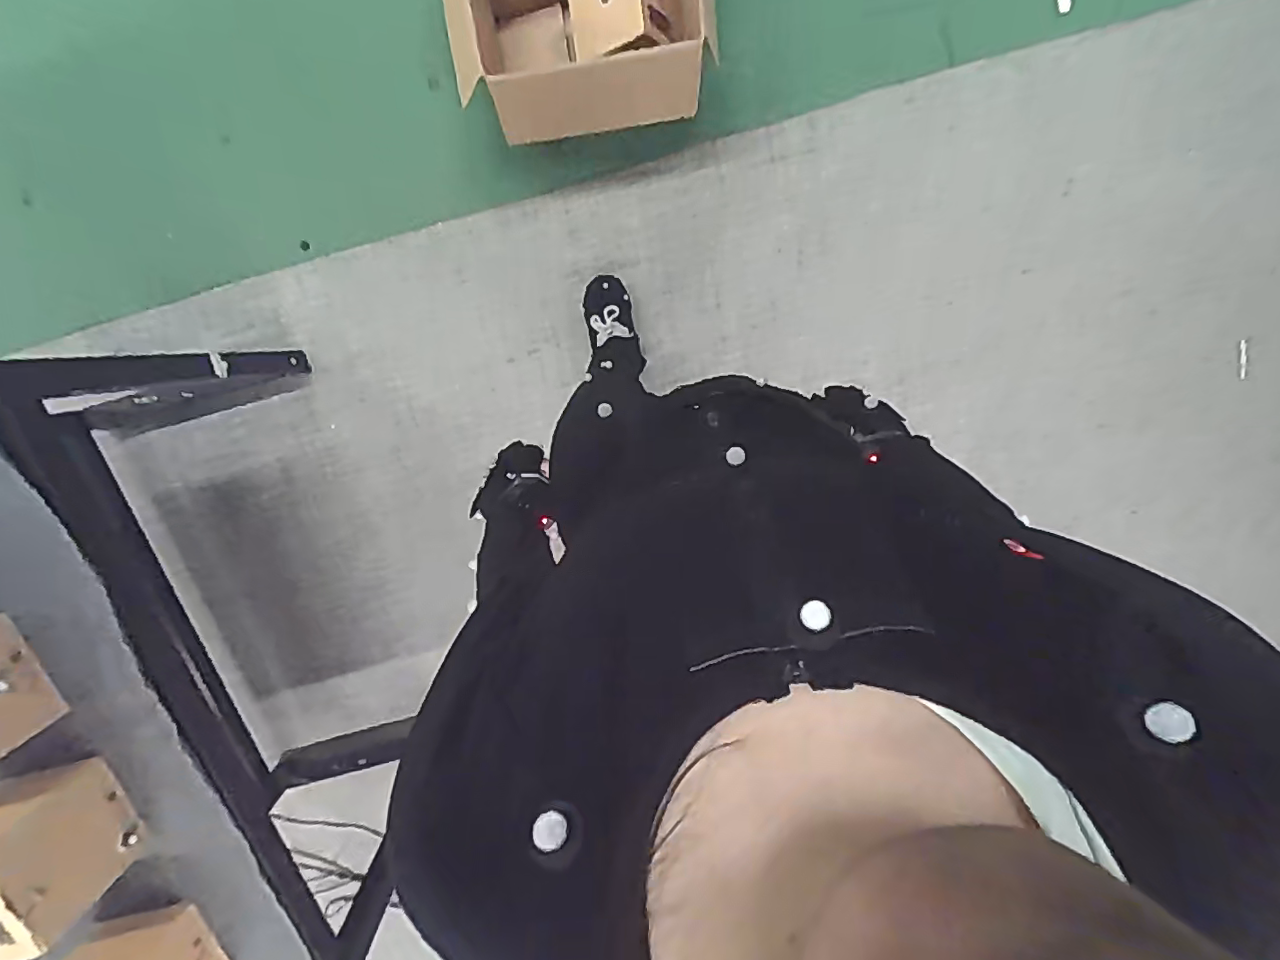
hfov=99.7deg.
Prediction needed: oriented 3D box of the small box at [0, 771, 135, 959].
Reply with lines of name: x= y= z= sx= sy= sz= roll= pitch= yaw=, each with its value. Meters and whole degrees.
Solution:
small box: x=-0.856 y=0.533 z=0.738 sx=0.179 sy=0.176 sz=0.168 roll=-15 pitch=104 yaw=2

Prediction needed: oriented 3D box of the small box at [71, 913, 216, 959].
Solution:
small box: x=-0.783 y=0.803 z=0.807 sx=0.179 sy=0.176 sz=0.168 roll=-16 pitch=103 yaw=3

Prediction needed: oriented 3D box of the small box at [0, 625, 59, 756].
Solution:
small box: x=-0.924 y=0.308 z=0.679 sx=0.179 sy=0.176 sz=0.168 roll=-16 pitch=104 yaw=2
